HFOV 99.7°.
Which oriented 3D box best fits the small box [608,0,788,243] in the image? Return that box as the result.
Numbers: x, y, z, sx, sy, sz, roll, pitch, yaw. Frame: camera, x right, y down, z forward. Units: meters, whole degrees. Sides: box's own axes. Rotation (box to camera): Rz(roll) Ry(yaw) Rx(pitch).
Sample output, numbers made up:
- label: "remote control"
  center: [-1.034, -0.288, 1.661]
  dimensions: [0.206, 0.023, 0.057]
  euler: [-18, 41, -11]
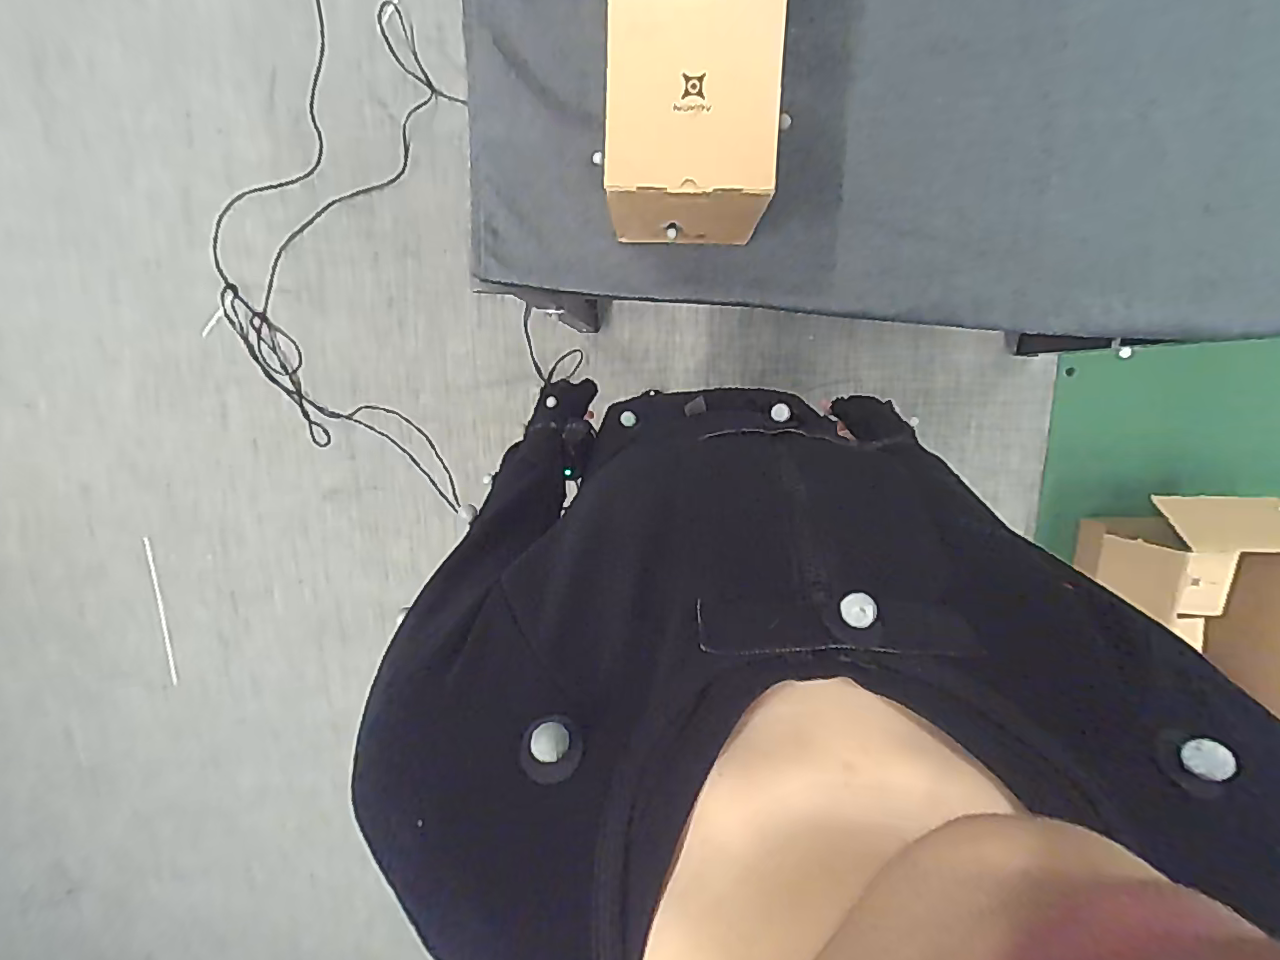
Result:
- label: "small box"
  center: [0.055, -0.377, 0.591]
  dimensions: [0.168, 0.176, 0.179]
  euler: [2, 98, 2]
